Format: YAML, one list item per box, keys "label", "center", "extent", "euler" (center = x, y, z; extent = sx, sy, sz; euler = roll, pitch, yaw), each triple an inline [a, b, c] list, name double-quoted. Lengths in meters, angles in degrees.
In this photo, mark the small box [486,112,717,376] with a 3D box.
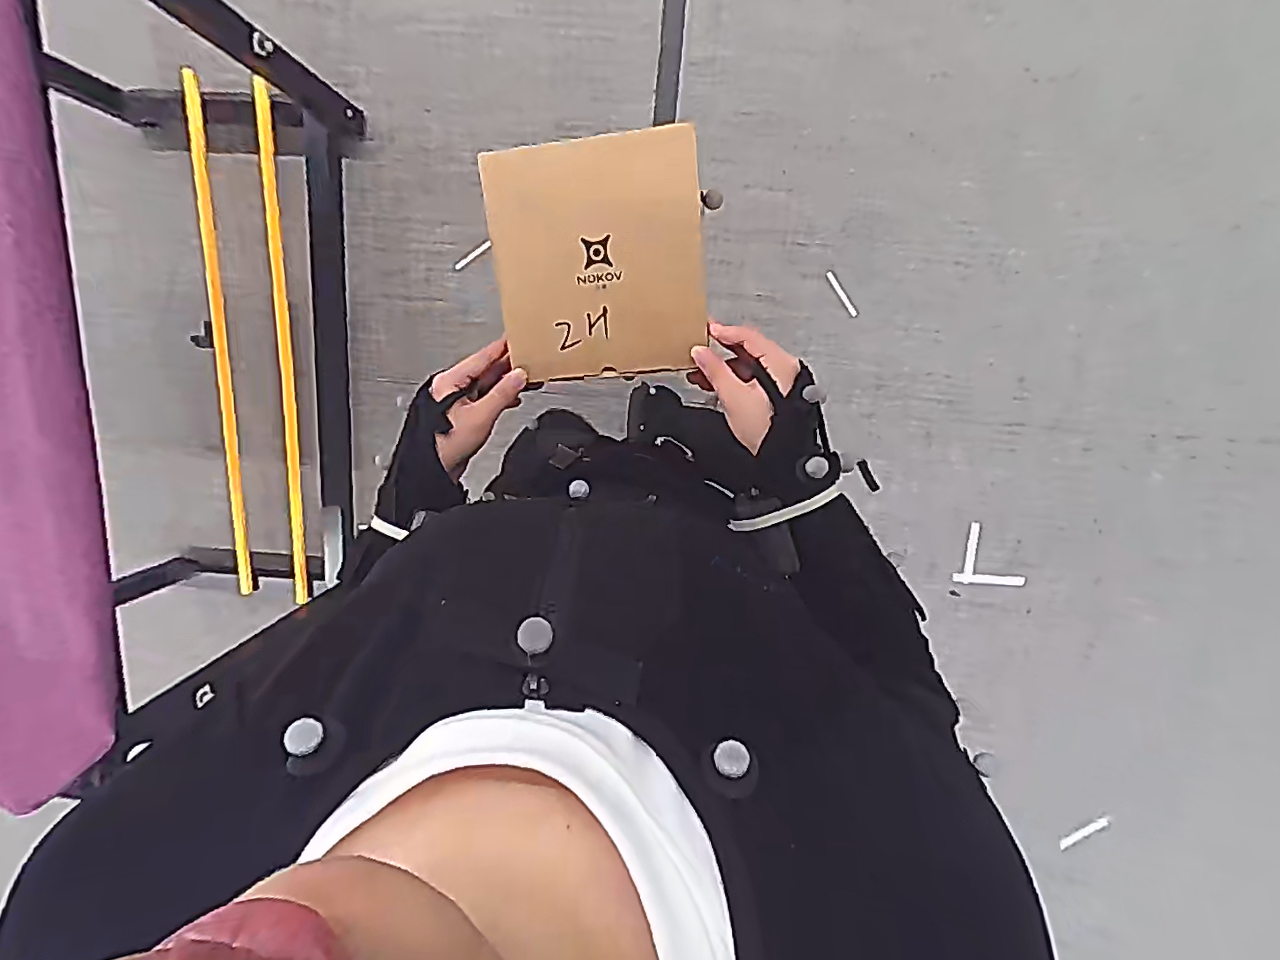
- label: "small box"
  center: [-0.018, -0.192, 0.484]
  extent: [0.168, 0.176, 0.179]
  euler: [-2, 107, 8]
